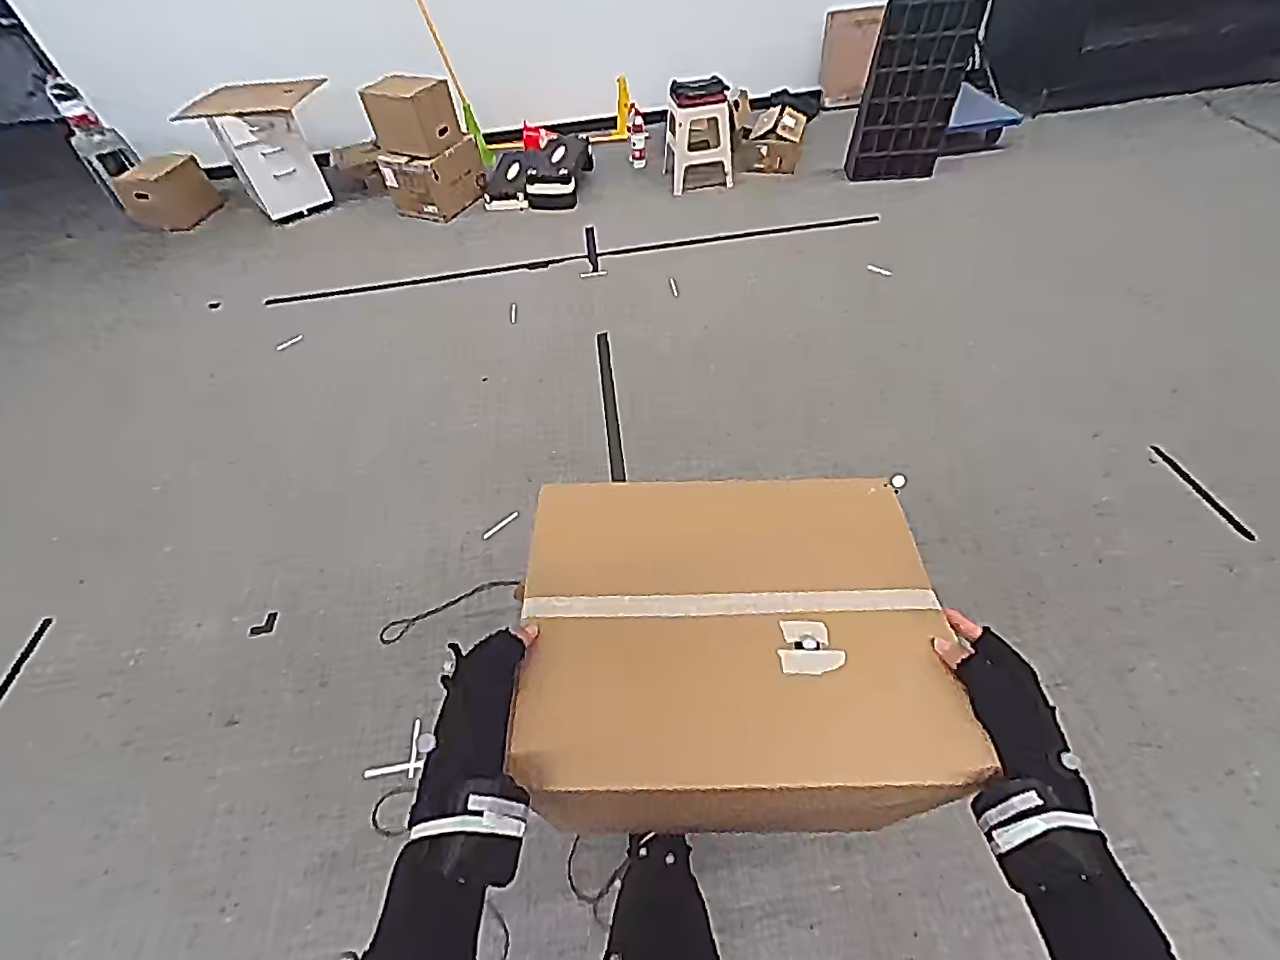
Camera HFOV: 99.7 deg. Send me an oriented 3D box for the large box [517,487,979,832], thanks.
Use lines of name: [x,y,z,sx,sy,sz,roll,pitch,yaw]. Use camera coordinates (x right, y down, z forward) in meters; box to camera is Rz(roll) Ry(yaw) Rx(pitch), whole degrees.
large box: [0.089,0.226,0.664,0.408,0.320,0.320,-1,52,0]
